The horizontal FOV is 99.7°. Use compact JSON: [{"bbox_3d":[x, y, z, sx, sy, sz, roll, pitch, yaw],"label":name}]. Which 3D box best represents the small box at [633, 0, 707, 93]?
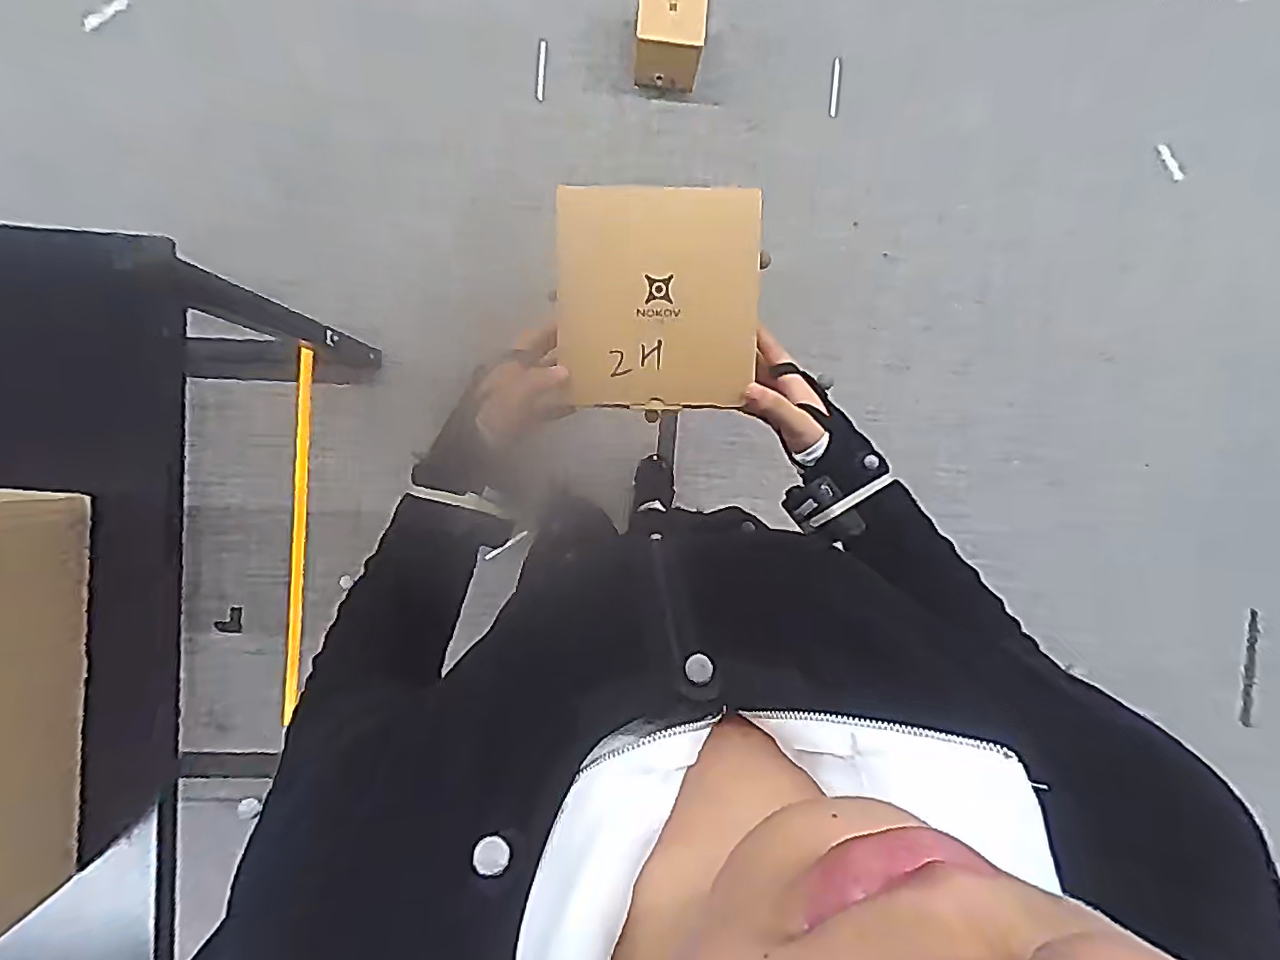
[{"bbox_3d":[0.072,-1.133,1.372,0.168,0.176,0.179,4,93,-3],"label":"small box"}]

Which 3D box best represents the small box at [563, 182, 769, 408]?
[{"bbox_3d":[0.019,-0.159,0.515,0.168,0.176,0.179,1,99,1],"label":"small box"}]
